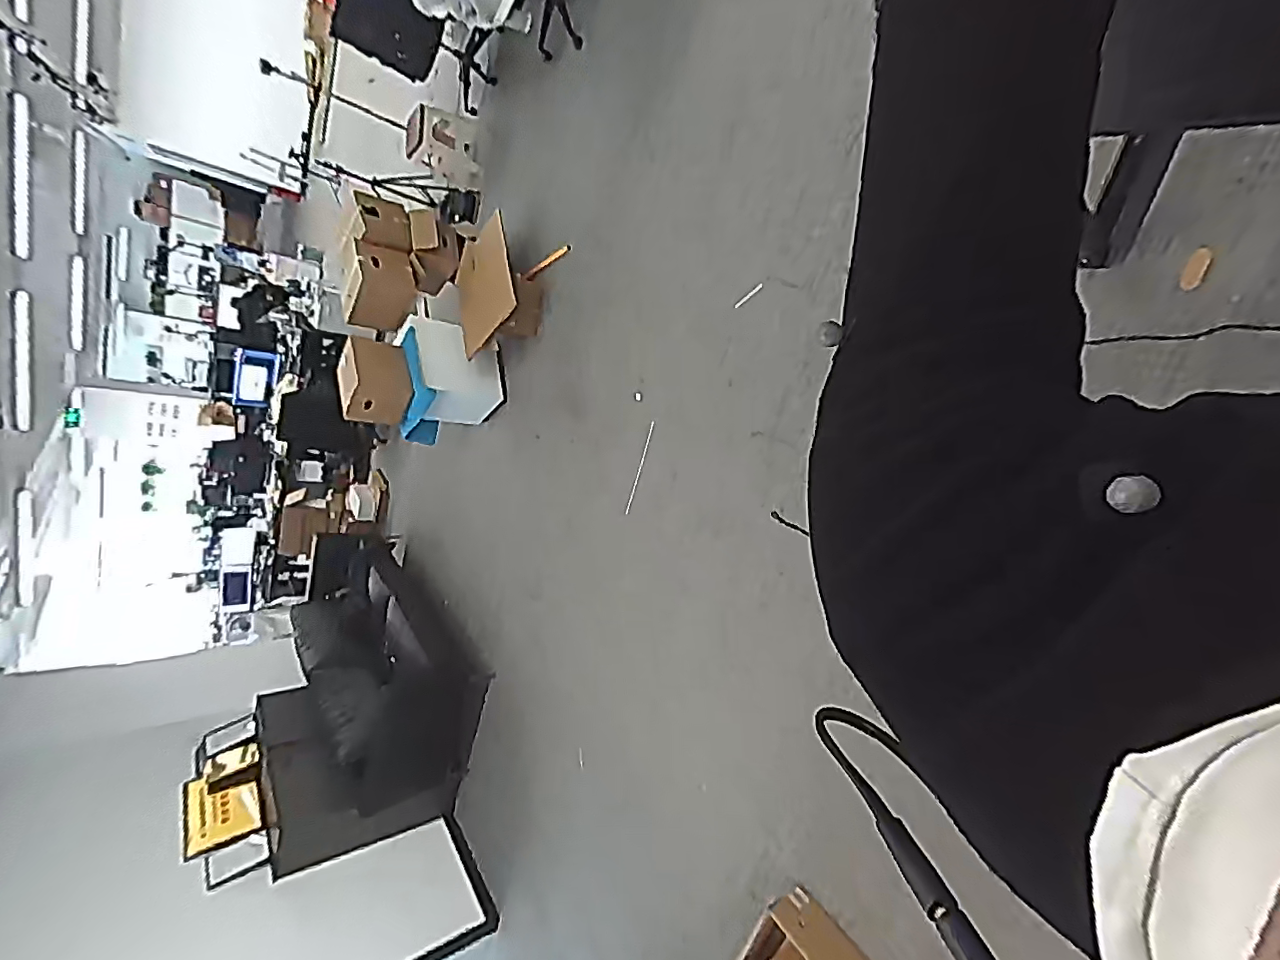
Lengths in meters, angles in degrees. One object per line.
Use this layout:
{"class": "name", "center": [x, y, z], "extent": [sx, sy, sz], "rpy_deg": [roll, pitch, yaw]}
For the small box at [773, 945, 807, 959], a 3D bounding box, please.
{"class": "small box", "center": [0.480, 1.627, 1.691], "extent": [0.168, 0.176, 0.179], "rpy_deg": [12, 96, 48]}
